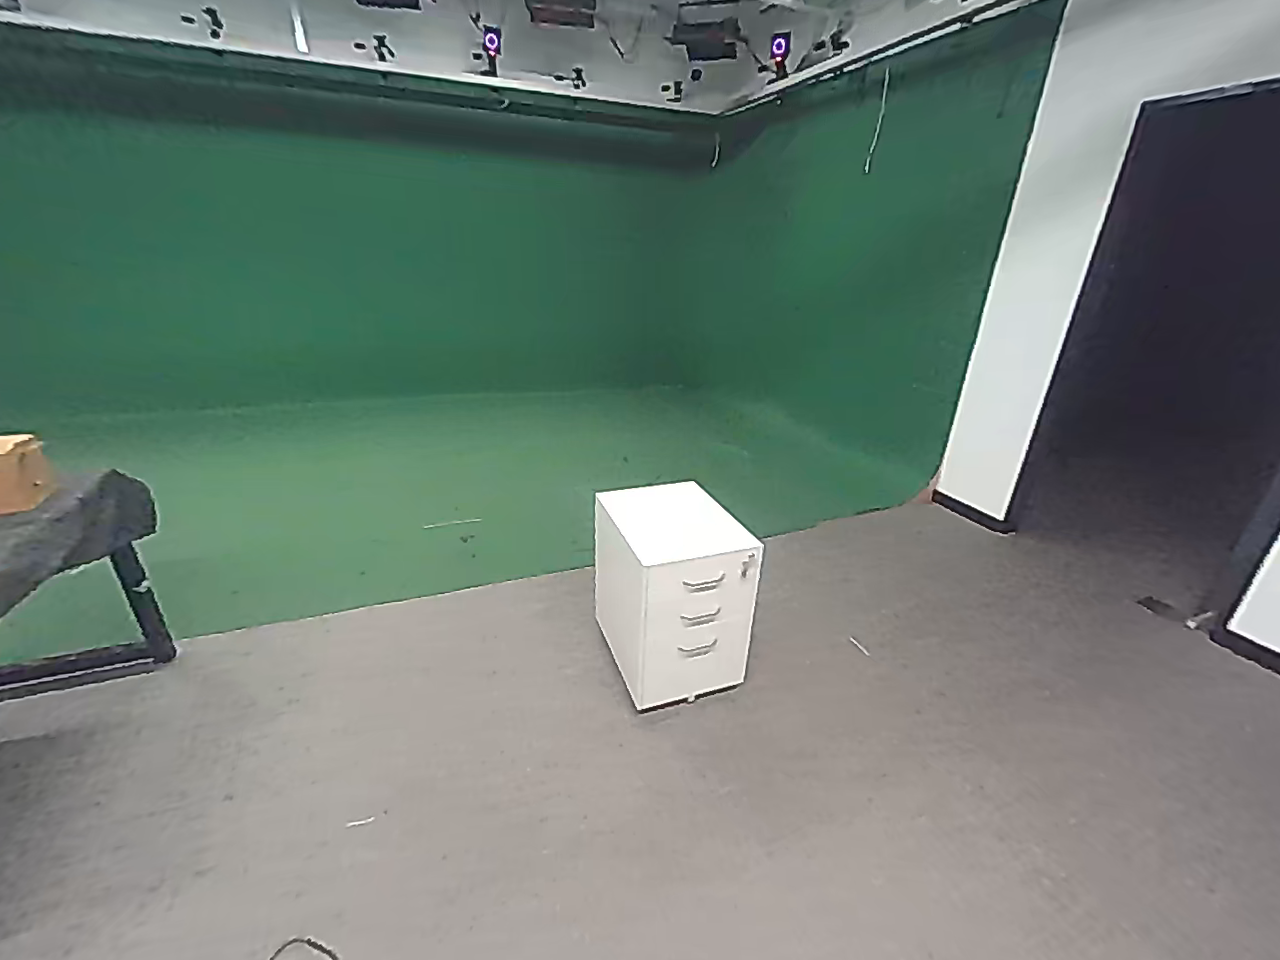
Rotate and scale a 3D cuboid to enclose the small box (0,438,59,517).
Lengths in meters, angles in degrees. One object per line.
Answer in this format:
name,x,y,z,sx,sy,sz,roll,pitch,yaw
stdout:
small box,-1.727,0.000,1.441,0.179,0.176,0.168,-9,26,-24
